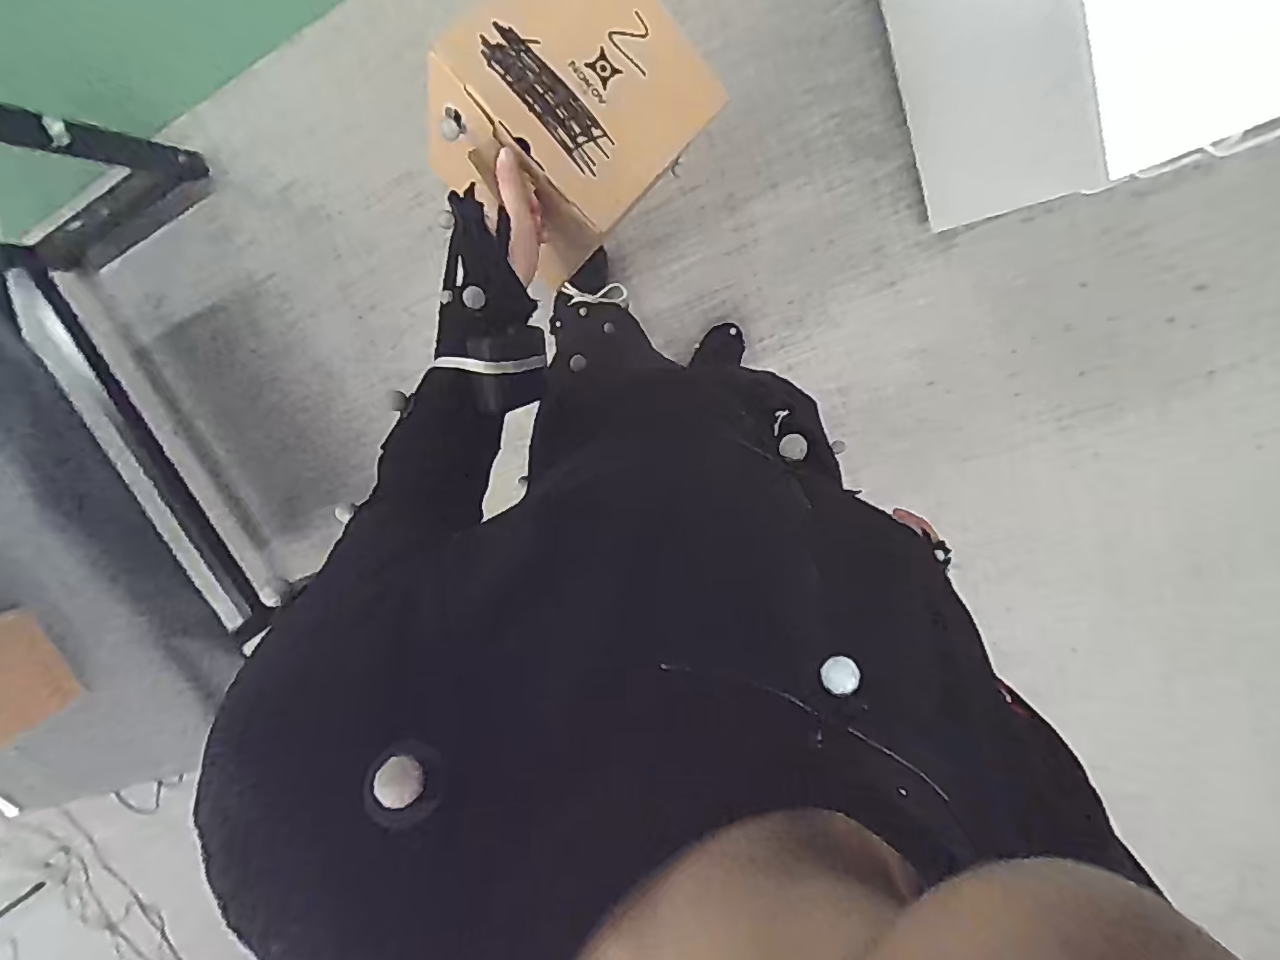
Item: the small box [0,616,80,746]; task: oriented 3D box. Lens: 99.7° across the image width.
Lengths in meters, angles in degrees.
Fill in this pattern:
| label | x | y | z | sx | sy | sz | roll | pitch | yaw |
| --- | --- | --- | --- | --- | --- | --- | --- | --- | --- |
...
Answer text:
| label | x | y | z | sx | sy | sz | roll | pitch | yaw |
| --- | --- | --- | --- | --- | --- | --- | --- | --- | --- |
| small box | -1.054 | 0.329 | 0.837 | 0.168 | 0.176 | 0.179 | -14 | 107 | 16 |
